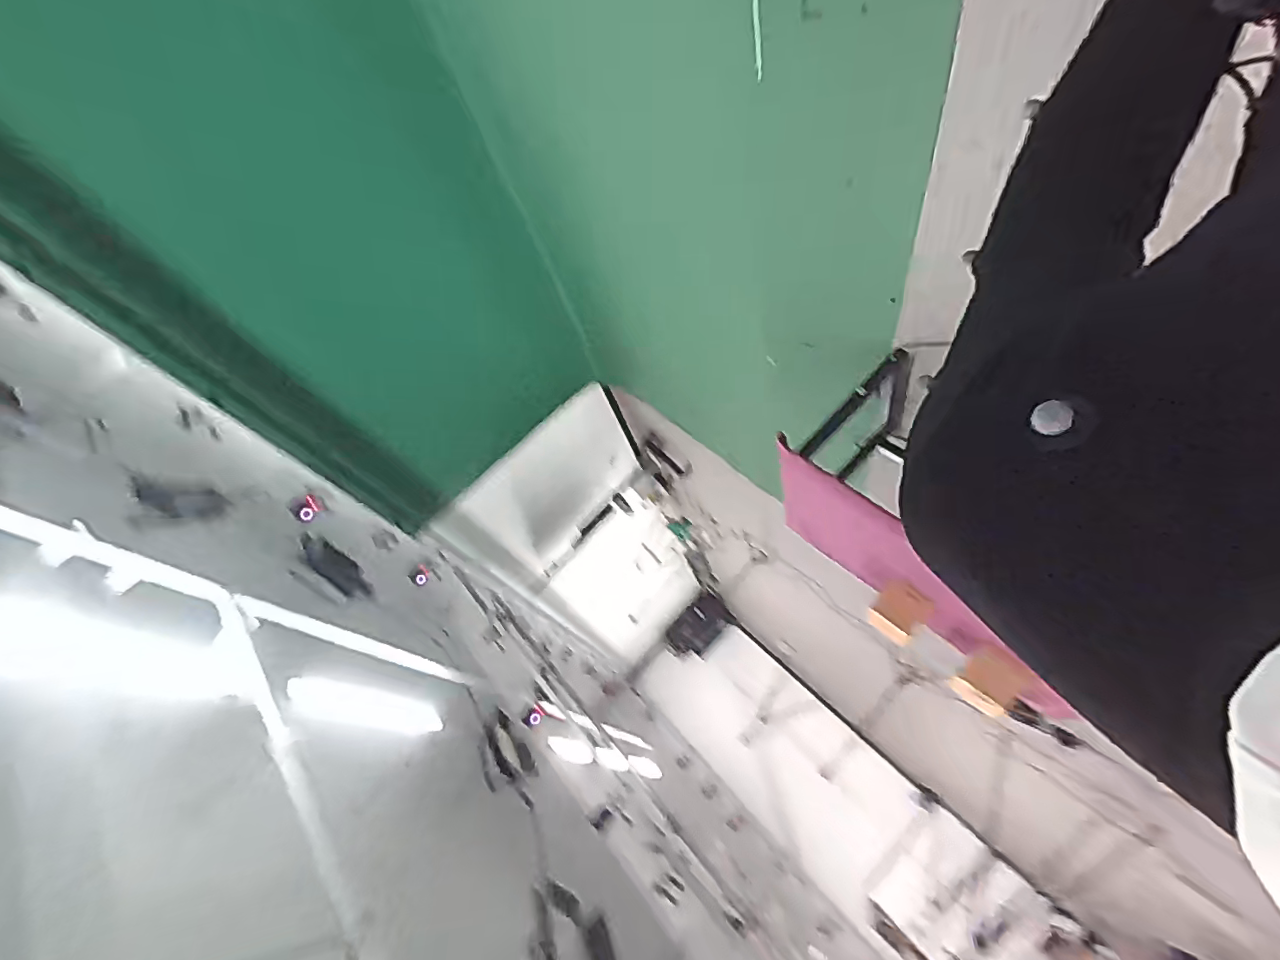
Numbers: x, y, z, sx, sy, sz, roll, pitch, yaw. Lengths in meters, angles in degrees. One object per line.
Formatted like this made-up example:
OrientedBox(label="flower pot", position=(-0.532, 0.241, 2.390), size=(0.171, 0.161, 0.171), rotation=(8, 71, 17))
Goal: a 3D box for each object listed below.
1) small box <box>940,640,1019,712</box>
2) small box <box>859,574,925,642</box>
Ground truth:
OrientedBox(label="small box", position=(1.229, 0.708, 1.958), size=(0.168, 0.176, 0.179), rotation=(41, 168, 32))
OrientedBox(label="small box", position=(0.996, 0.505, 2.139), size=(0.168, 0.176, 0.179), rotation=(40, 166, 30))
